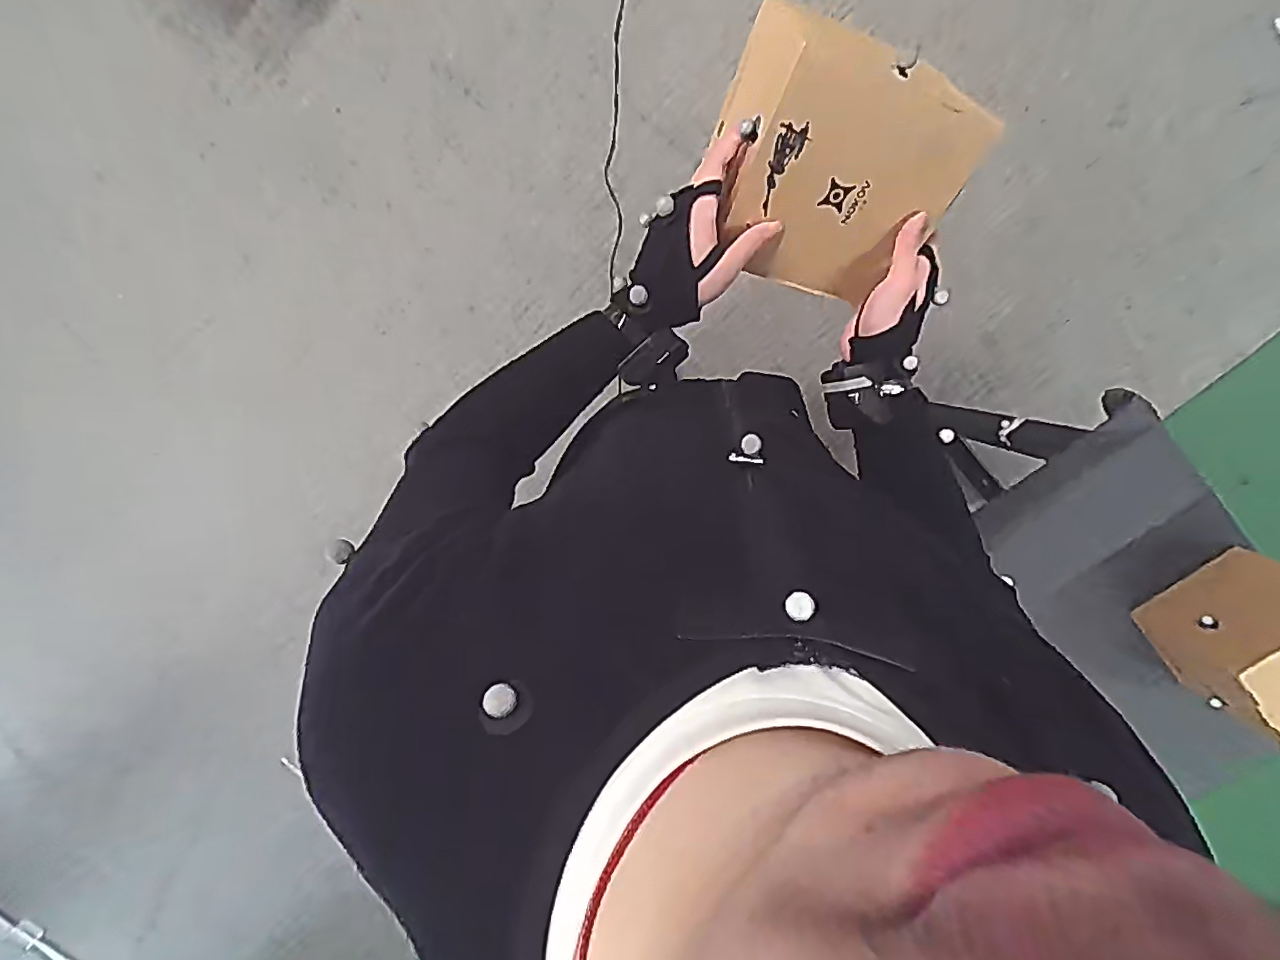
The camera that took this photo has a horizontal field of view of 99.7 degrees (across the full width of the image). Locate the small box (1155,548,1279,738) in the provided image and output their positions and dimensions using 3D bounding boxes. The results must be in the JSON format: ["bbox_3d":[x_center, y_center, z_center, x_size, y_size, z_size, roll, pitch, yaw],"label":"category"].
[{"bbox_3d":[0.875,0.226,0.742,0.179,0.176,0.168,-39,101,11],"label":"small box"}]

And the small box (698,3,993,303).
[{"bbox_3d":[0.166,-0.300,0.502,0.179,0.176,0.168,11,139,-14],"label":"small box"}]
